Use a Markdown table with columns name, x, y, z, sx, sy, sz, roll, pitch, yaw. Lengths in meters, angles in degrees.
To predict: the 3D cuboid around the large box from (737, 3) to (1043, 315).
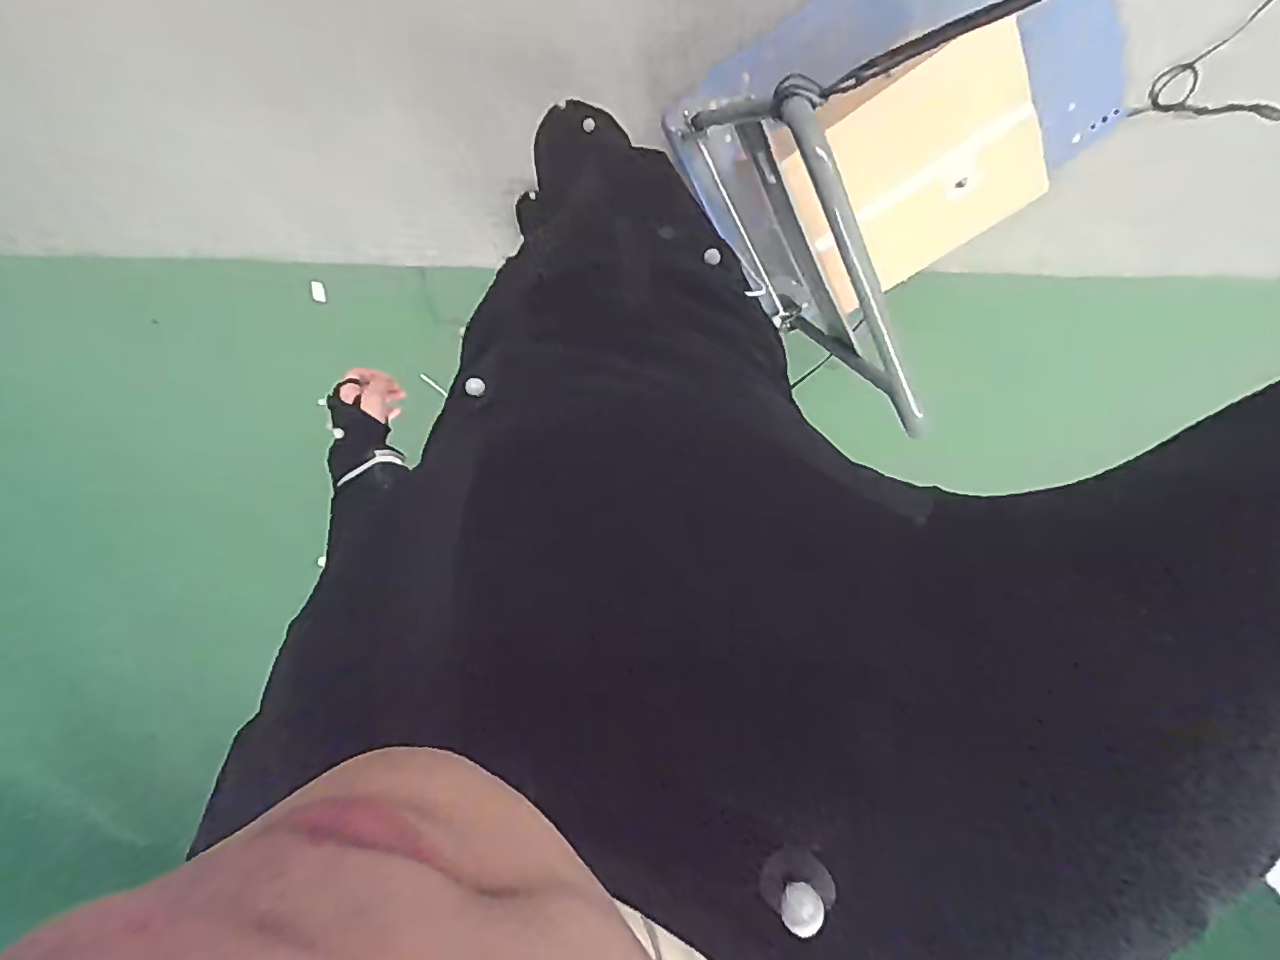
| name | x | y | z | sx | sy | sz | roll | pitch | yaw |
| --- | --- | --- | --- | --- | --- | --- | --- | --- | --- |
| large box | 0.461 | -0.599 | 1.062 | 0.408 | 0.320 | 0.320 | -30 | 121 | 13 |
